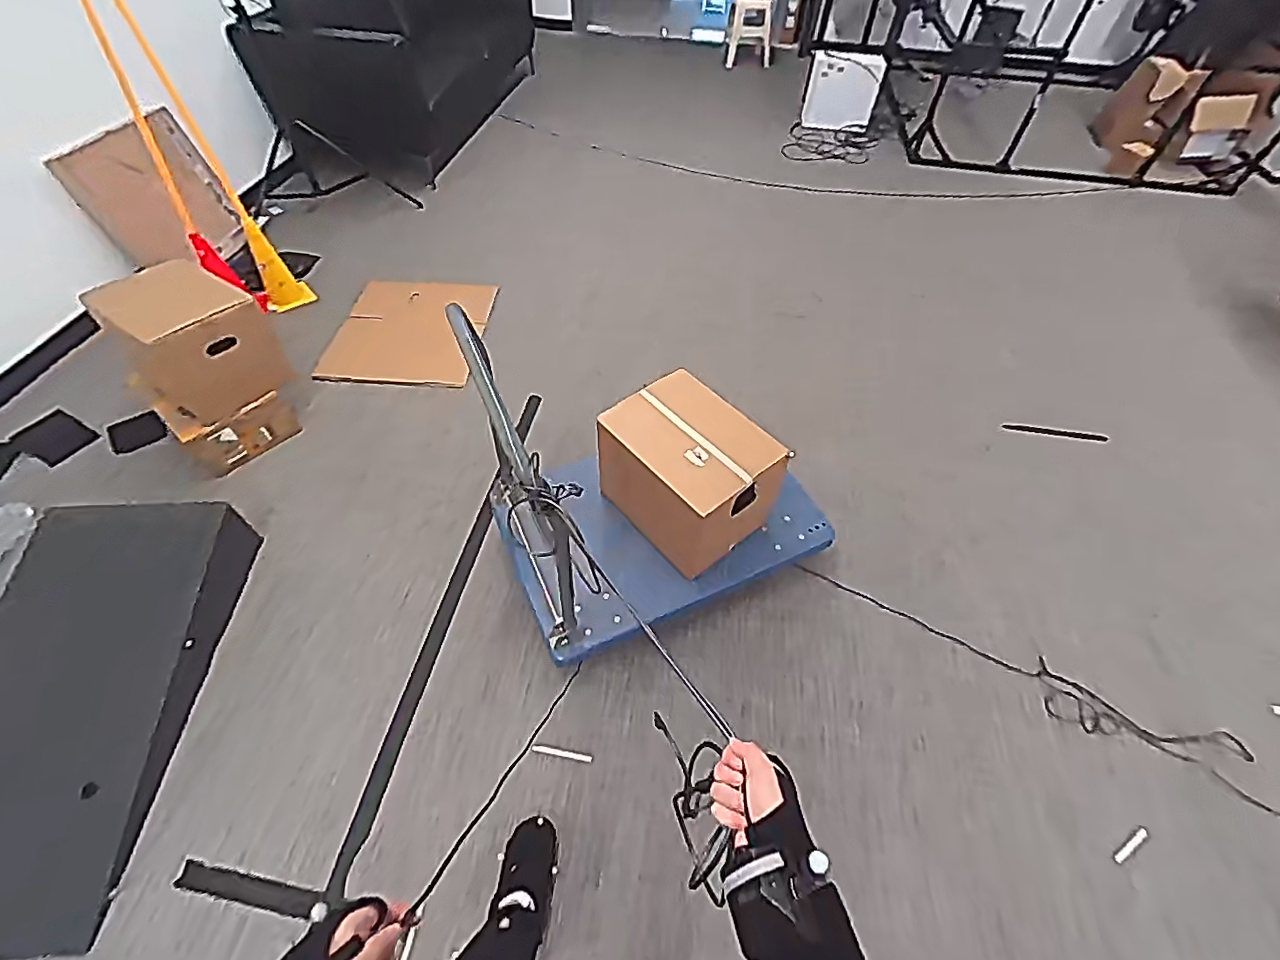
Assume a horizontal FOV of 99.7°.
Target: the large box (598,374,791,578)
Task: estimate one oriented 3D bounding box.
[{"bbox_3d":[0.126,-0.015,1.483,0.320,0.320,0.408,-33,61,-24],"label":"large box"}]
